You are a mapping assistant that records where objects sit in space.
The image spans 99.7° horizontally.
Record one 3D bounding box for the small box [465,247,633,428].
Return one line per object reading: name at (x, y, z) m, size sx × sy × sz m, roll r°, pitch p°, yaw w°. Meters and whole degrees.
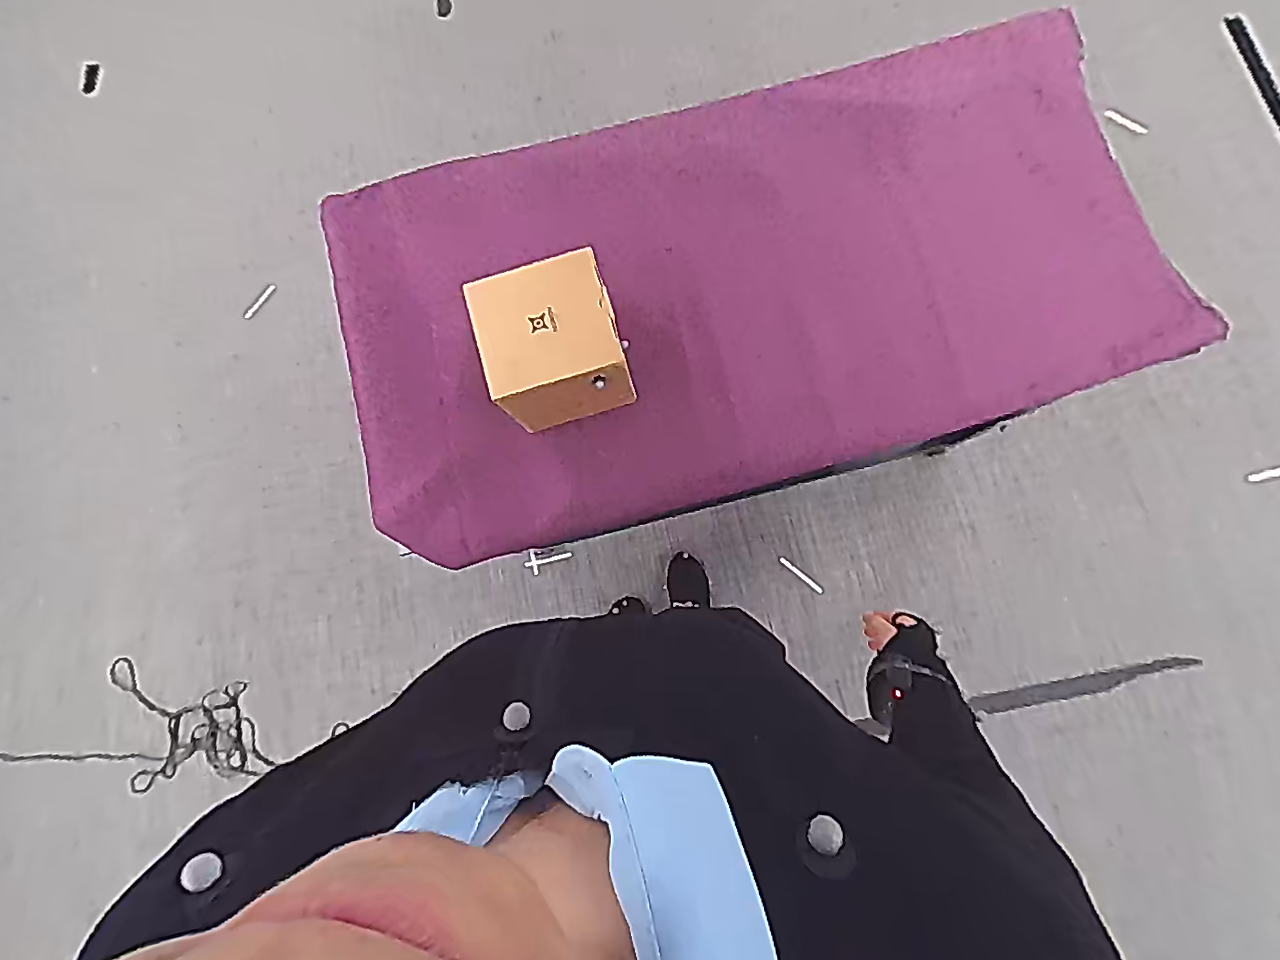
small box at (-0.118, -0.188, 0.763) m, size 0.179 × 0.176 × 0.168 m, roll -17°, pitch 80°, yaw 0°
